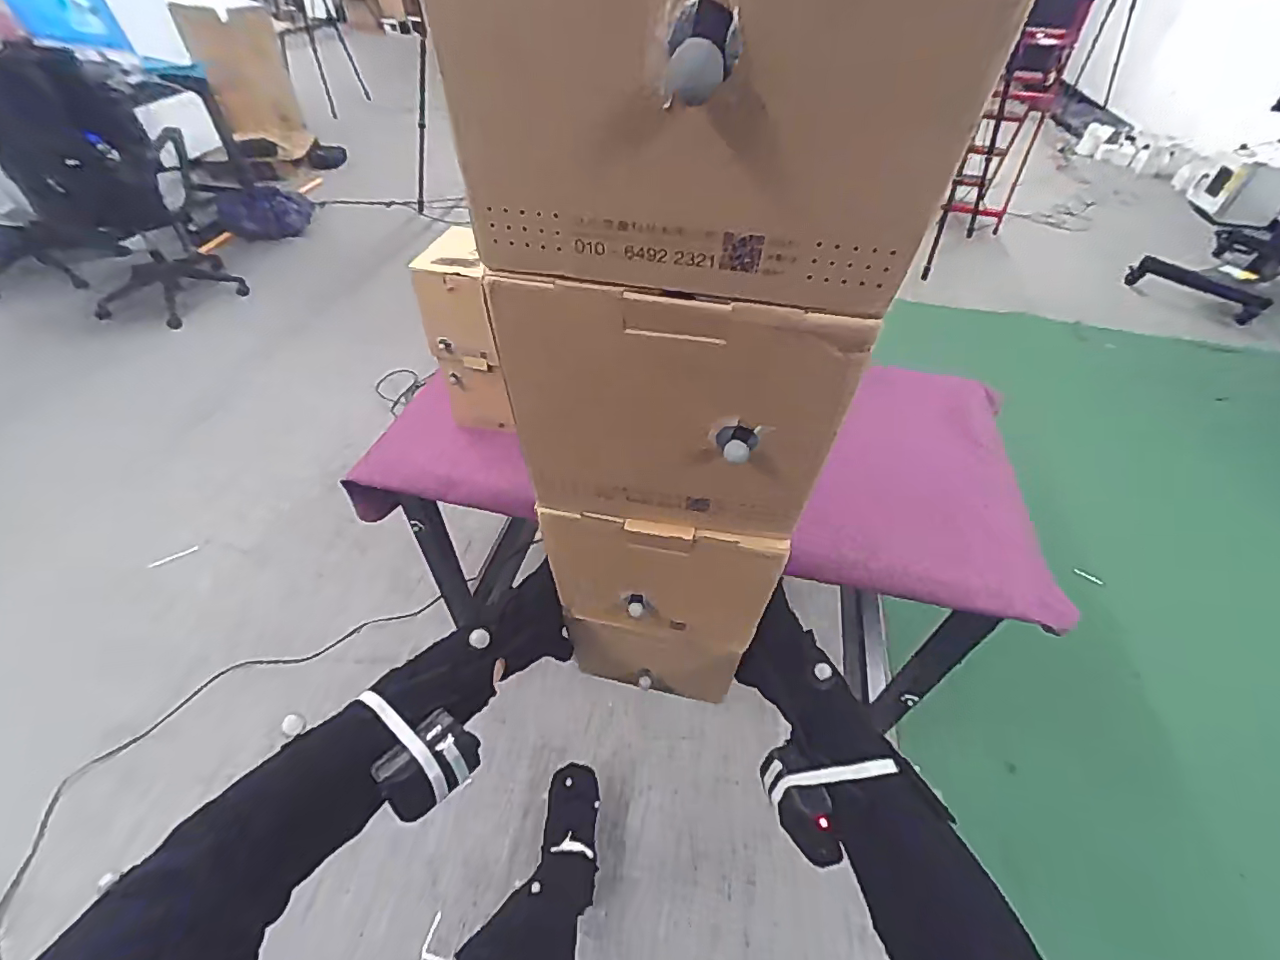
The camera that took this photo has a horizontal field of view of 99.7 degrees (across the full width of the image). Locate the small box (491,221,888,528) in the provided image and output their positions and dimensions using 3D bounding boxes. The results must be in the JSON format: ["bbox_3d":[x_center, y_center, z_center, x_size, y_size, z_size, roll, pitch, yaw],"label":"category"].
[{"bbox_3d":[0.032,-0.091,0.329,0.168,0.176,0.179,9,54,5],"label":"small box"}]

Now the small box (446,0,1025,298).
[{"bbox_3d":[0.036,-0.191,0.199,0.168,0.176,0.179,9,55,5],"label":"small box"}]

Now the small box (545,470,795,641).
[{"bbox_3d":[0.032,0.011,0.456,0.168,0.176,0.179,10,54,7],"label":"small box"}]

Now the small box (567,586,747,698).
[{"bbox_3d":[0.030,0.110,0.585,0.168,0.176,0.179,11,54,8],"label":"small box"}]

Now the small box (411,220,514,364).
[{"bbox_3d":[-0.268,-0.329,0.954,0.168,0.176,0.179,14,48,7],"label":"small box"}]
